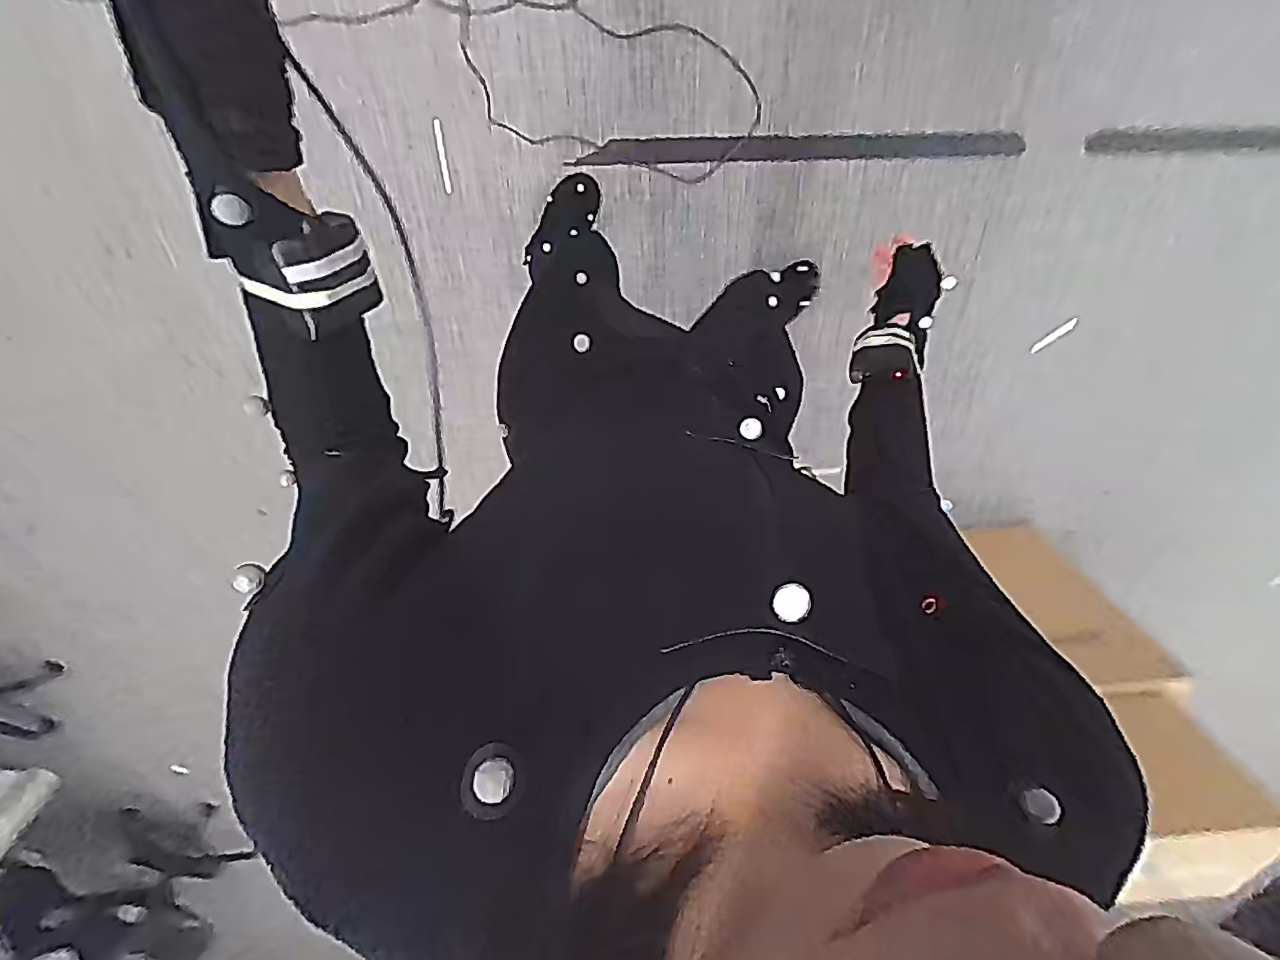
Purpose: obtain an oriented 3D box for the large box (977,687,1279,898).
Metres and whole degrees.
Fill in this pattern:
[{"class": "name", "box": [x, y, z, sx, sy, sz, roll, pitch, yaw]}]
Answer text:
[{"class": "large box", "box": [1.107, 0.722, 1.267, 0.408, 0.320, 0.320, -5, 122, 1]}]
